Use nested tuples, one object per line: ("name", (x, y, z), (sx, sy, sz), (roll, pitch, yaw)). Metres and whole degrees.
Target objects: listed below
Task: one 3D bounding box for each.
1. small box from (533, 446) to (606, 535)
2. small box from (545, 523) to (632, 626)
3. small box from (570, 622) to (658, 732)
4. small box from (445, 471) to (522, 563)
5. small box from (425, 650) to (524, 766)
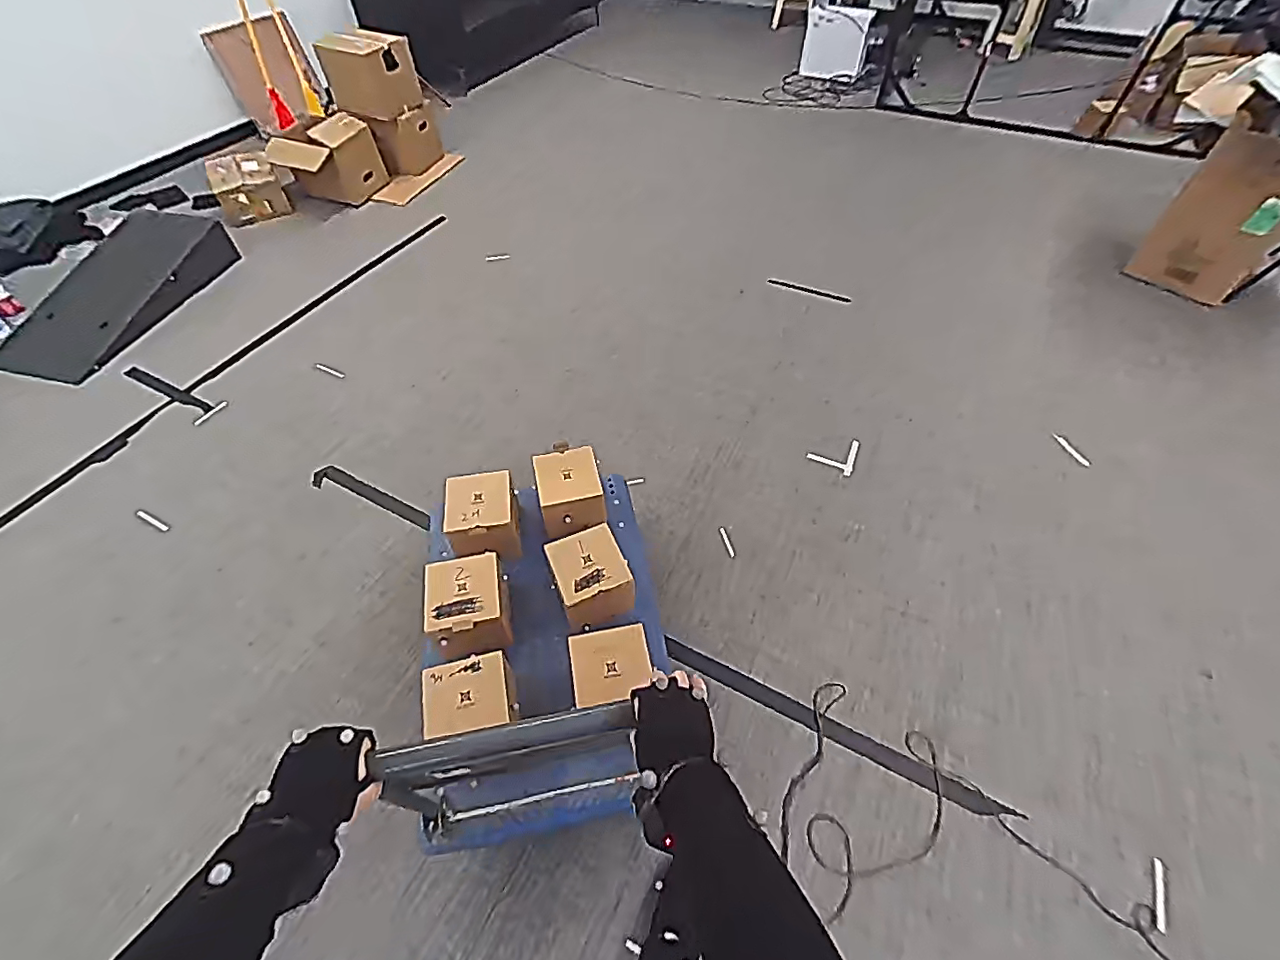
("small box", (-0.194, 0.036, 1.507), (0.168, 0.176, 0.179), (-12, 53, -9))
("small box", (-0.123, 0.243, 1.344), (0.168, 0.176, 0.179), (-19, 54, -15))
("small box", (-0.057, 0.440, 1.191), (0.168, 0.176, 0.179), (-8, 52, -8))
("small box", (-0.415, 0.099, 1.453), (0.168, 0.176, 0.179), (-7, 53, -6))
("small box", (-0.348, 0.489, 1.149), (0.168, 0.176, 0.179), (-11, 53, -10))
